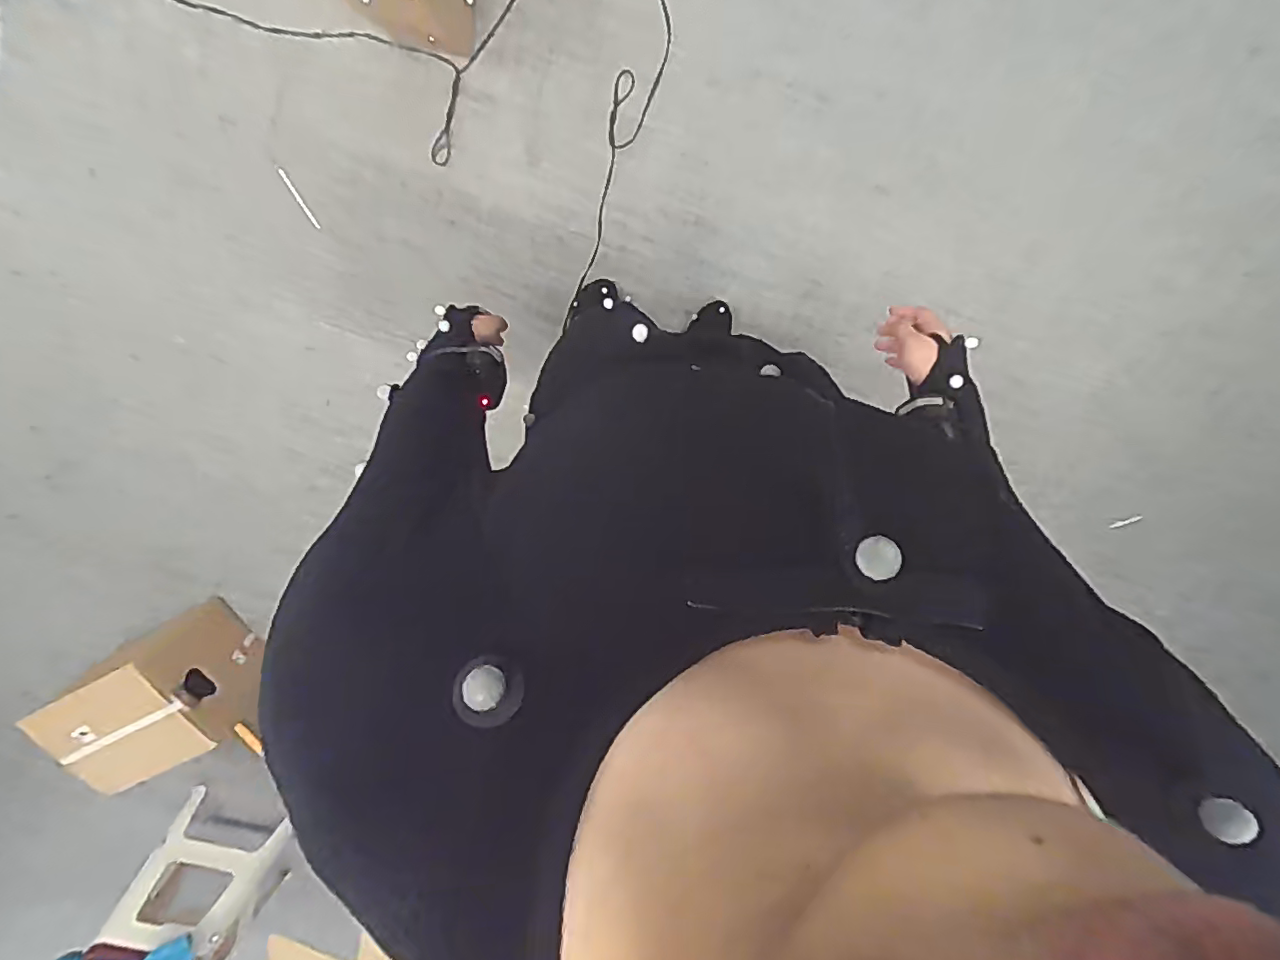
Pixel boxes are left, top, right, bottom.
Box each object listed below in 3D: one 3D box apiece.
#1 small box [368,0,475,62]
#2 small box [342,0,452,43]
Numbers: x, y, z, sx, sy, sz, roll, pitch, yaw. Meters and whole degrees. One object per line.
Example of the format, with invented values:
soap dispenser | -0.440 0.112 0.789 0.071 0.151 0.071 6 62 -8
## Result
small box | -0.435 -0.969 1.074 0.179 0.176 0.168 10 109 -4
small box | -0.433 -0.896 0.927 0.179 0.176 0.168 13 110 -7
